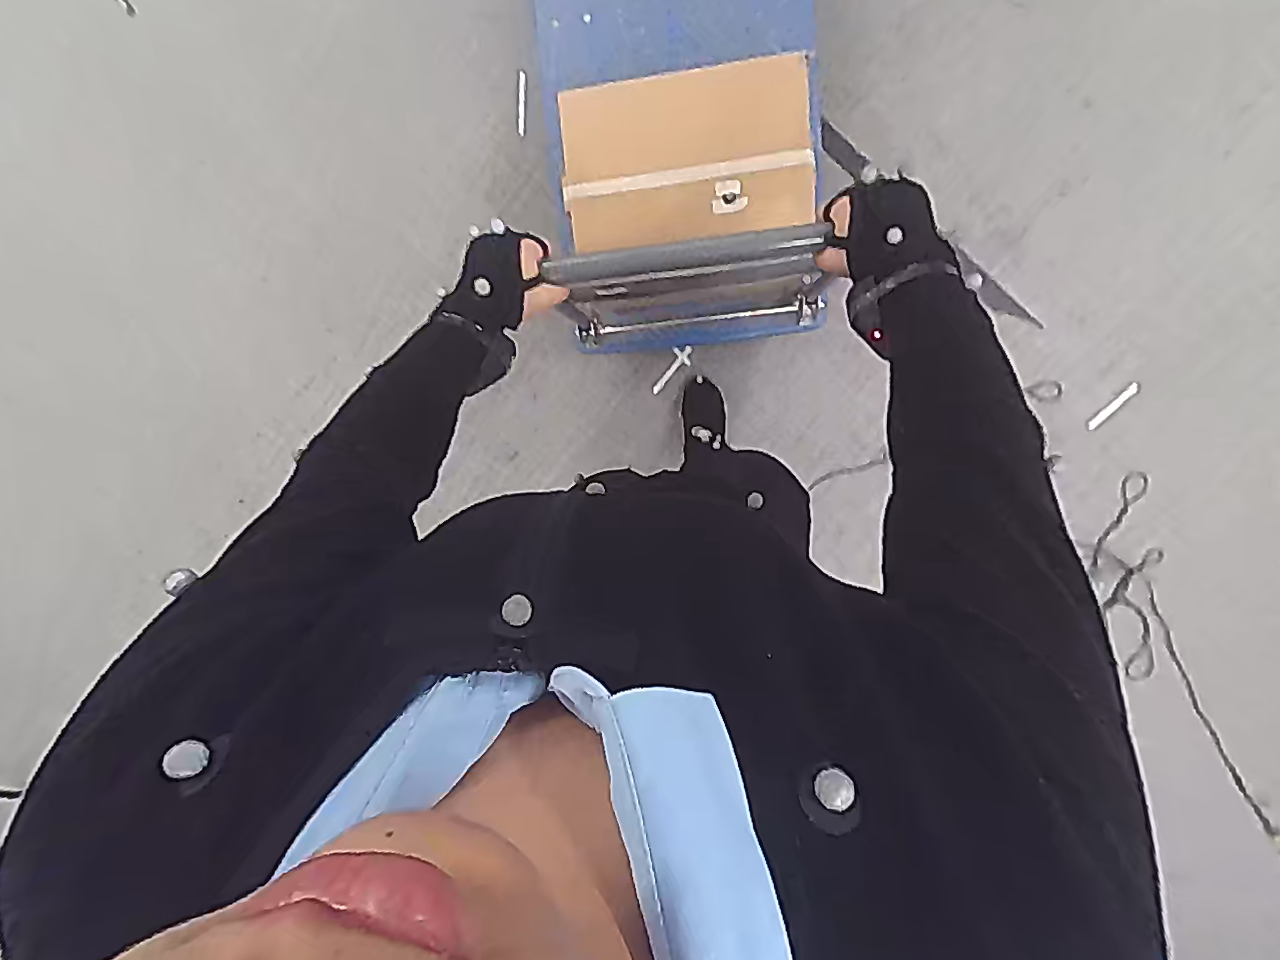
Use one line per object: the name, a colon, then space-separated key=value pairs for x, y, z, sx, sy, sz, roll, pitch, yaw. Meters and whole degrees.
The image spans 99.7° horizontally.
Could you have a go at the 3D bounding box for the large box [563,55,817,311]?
large box: x=0.095 y=-0.530 z=1.046 sx=0.408 sy=0.320 sz=0.320 roll=-5 pitch=100 yaw=6
